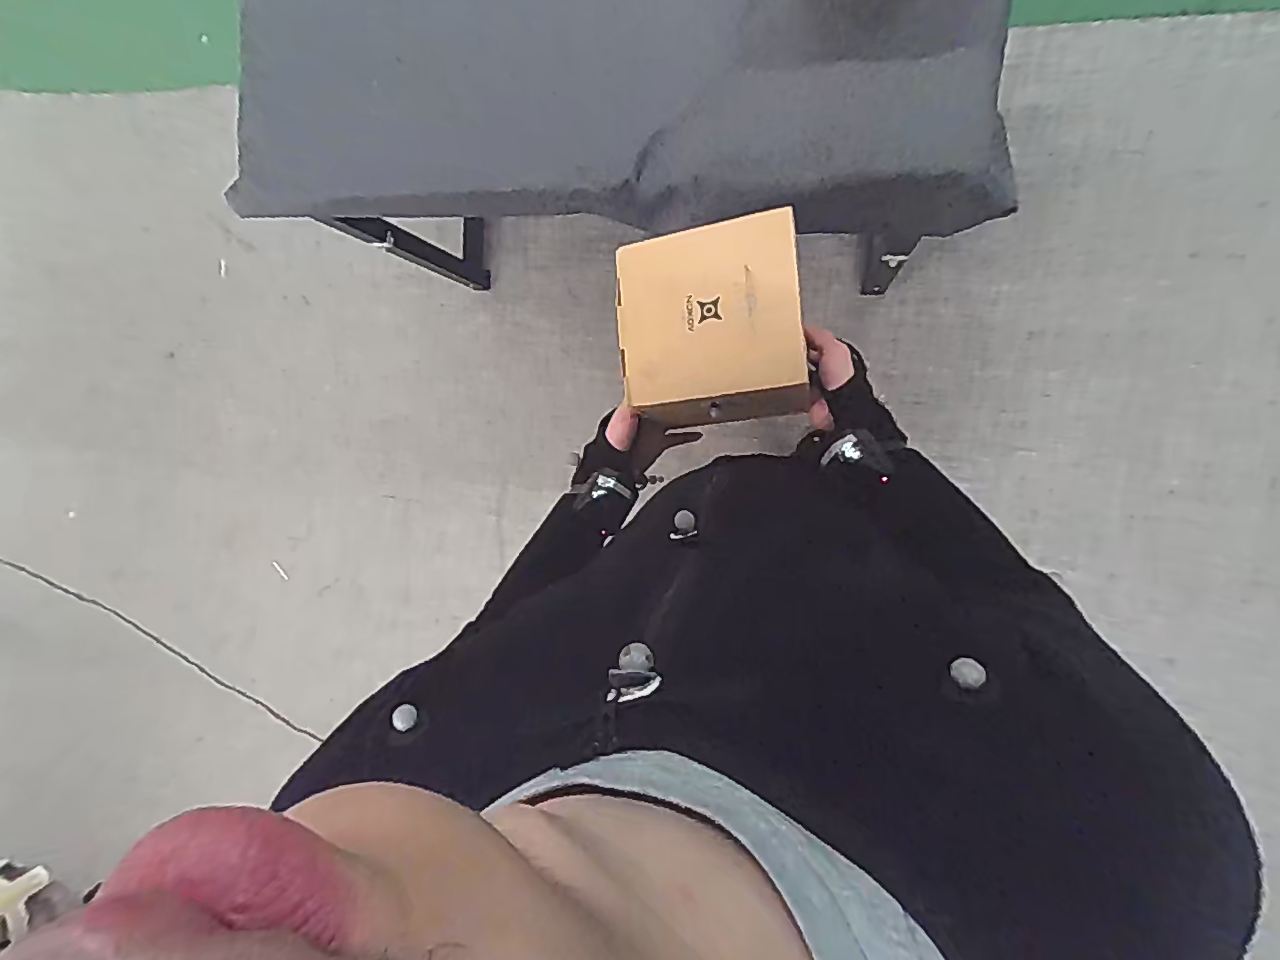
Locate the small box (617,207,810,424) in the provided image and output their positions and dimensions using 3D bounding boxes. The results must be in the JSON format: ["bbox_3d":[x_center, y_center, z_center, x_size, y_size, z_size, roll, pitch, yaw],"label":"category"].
[{"bbox_3d":[0.088,-0.159,0.590,0.179,0.176,0.168,-5,87,17],"label":"small box"}]
